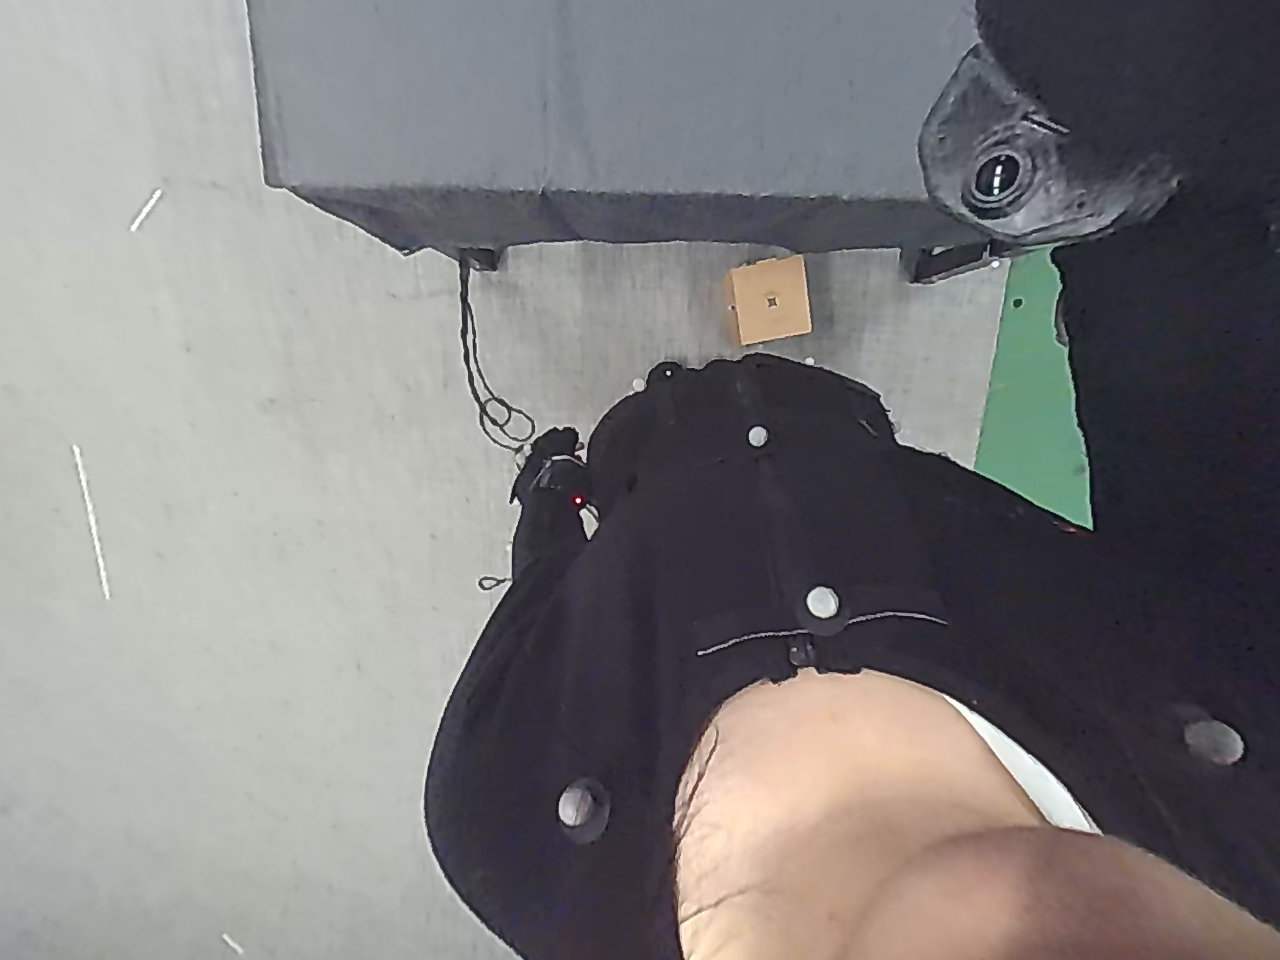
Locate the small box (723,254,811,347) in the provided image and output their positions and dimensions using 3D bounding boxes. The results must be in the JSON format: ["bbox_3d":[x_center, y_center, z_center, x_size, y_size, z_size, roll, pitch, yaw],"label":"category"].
[{"bbox_3d":[0.301,-0.426,1.308,0.168,0.176,0.179,-10,101,4],"label":"small box"}]
